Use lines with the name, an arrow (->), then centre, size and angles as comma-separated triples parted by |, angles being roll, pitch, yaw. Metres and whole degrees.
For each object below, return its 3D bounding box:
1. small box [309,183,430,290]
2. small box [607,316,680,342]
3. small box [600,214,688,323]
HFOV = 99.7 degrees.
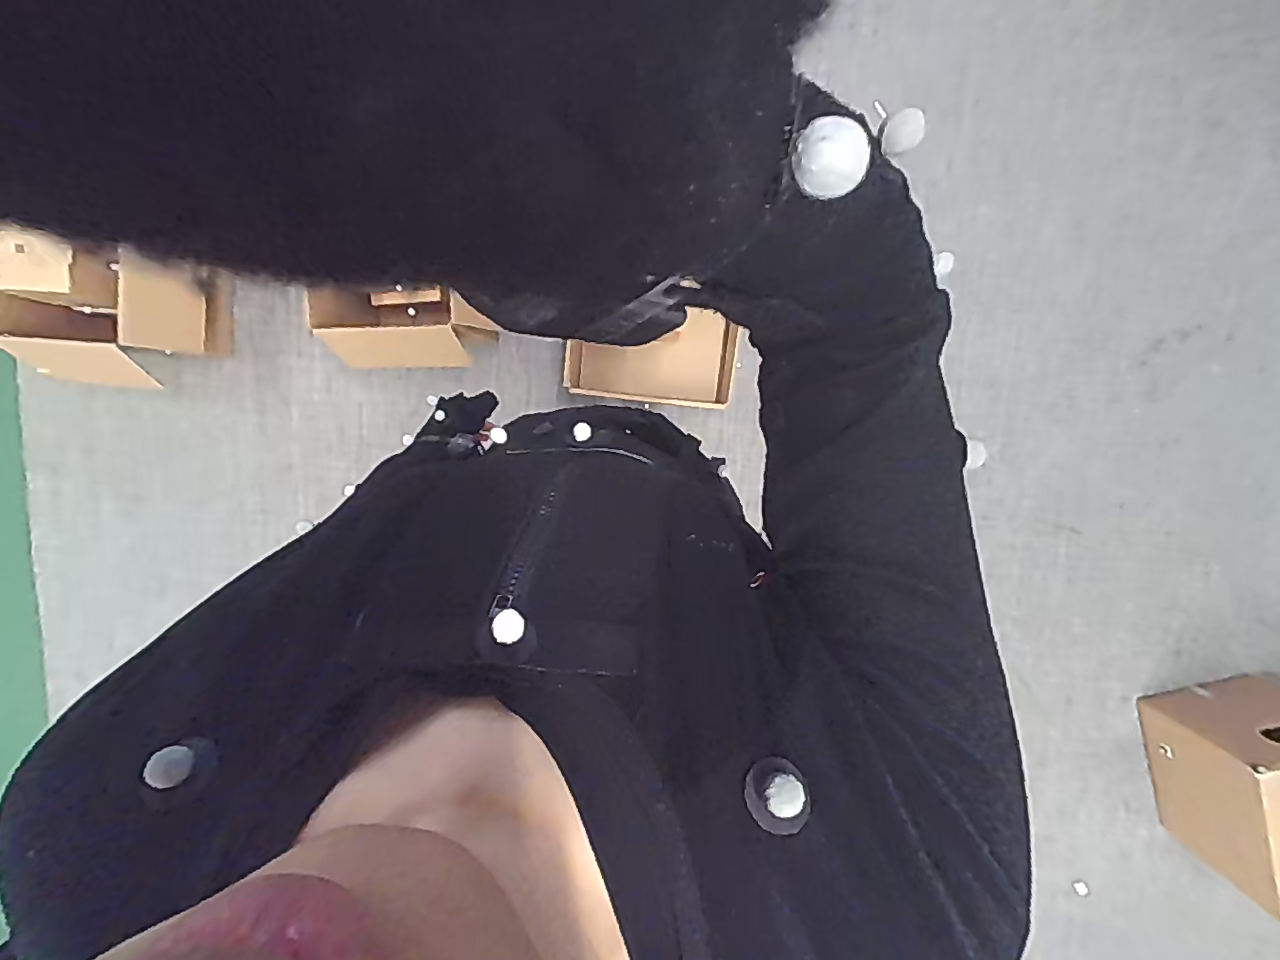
small box -> -0.564, -0.507, 1.151 | 0.168, 0.176, 0.179 | -3, 99, 1
small box -> 0.014, -0.435, 1.283 | 0.168, 0.176, 0.179 | 5, 96, 0
small box -> 0.008, -0.427, 1.119 | 0.168, 0.176, 0.179 | 2, 95, 0
